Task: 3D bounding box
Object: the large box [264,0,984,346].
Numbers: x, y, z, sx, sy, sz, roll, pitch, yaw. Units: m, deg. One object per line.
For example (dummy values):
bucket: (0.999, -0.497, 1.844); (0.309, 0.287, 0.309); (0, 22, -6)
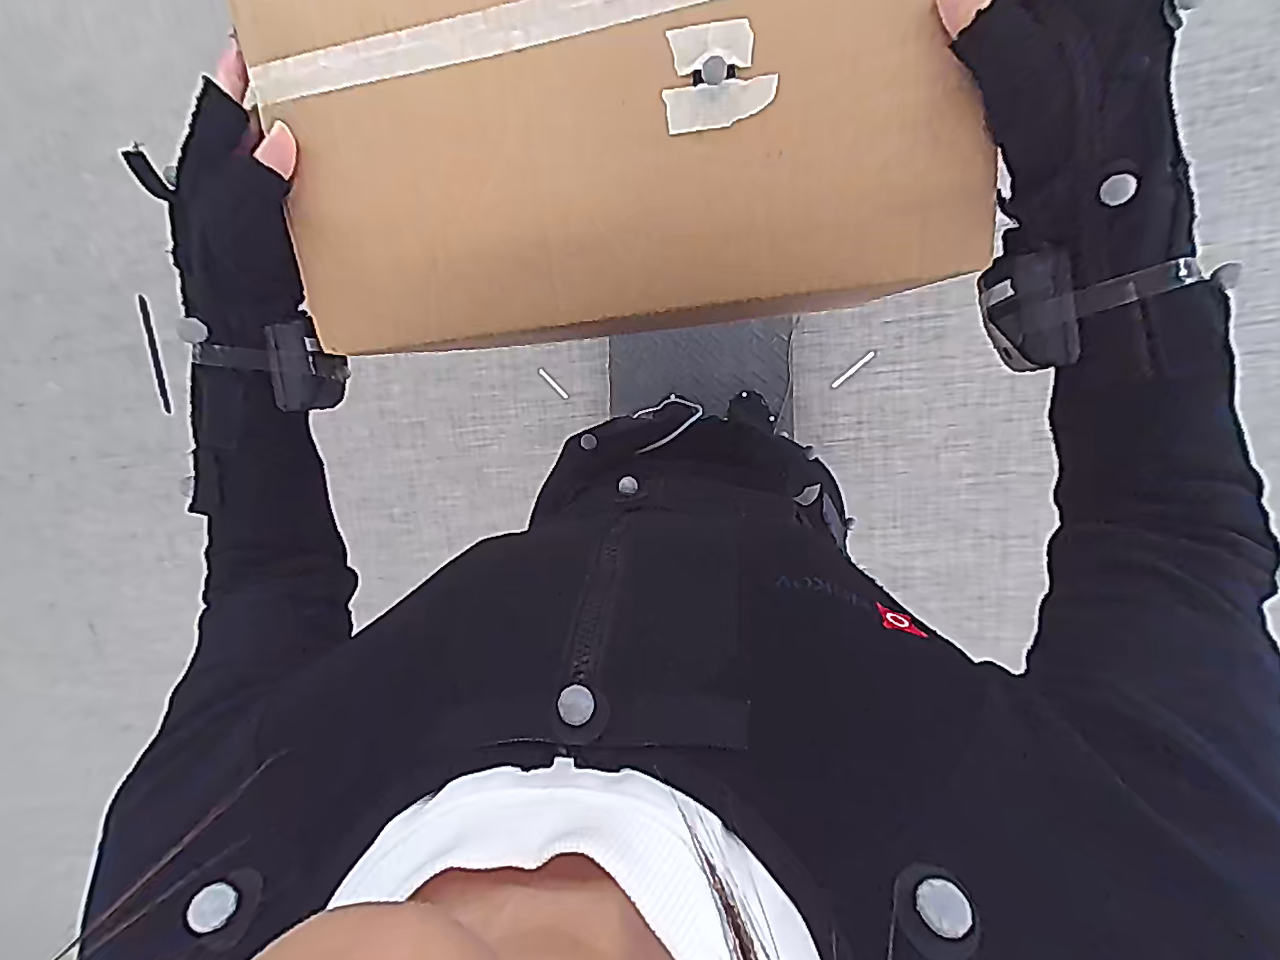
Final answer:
large box: (-0.005, -0.293, 0.441); (0.408, 0.320, 0.320); (-5, 104, 9)
